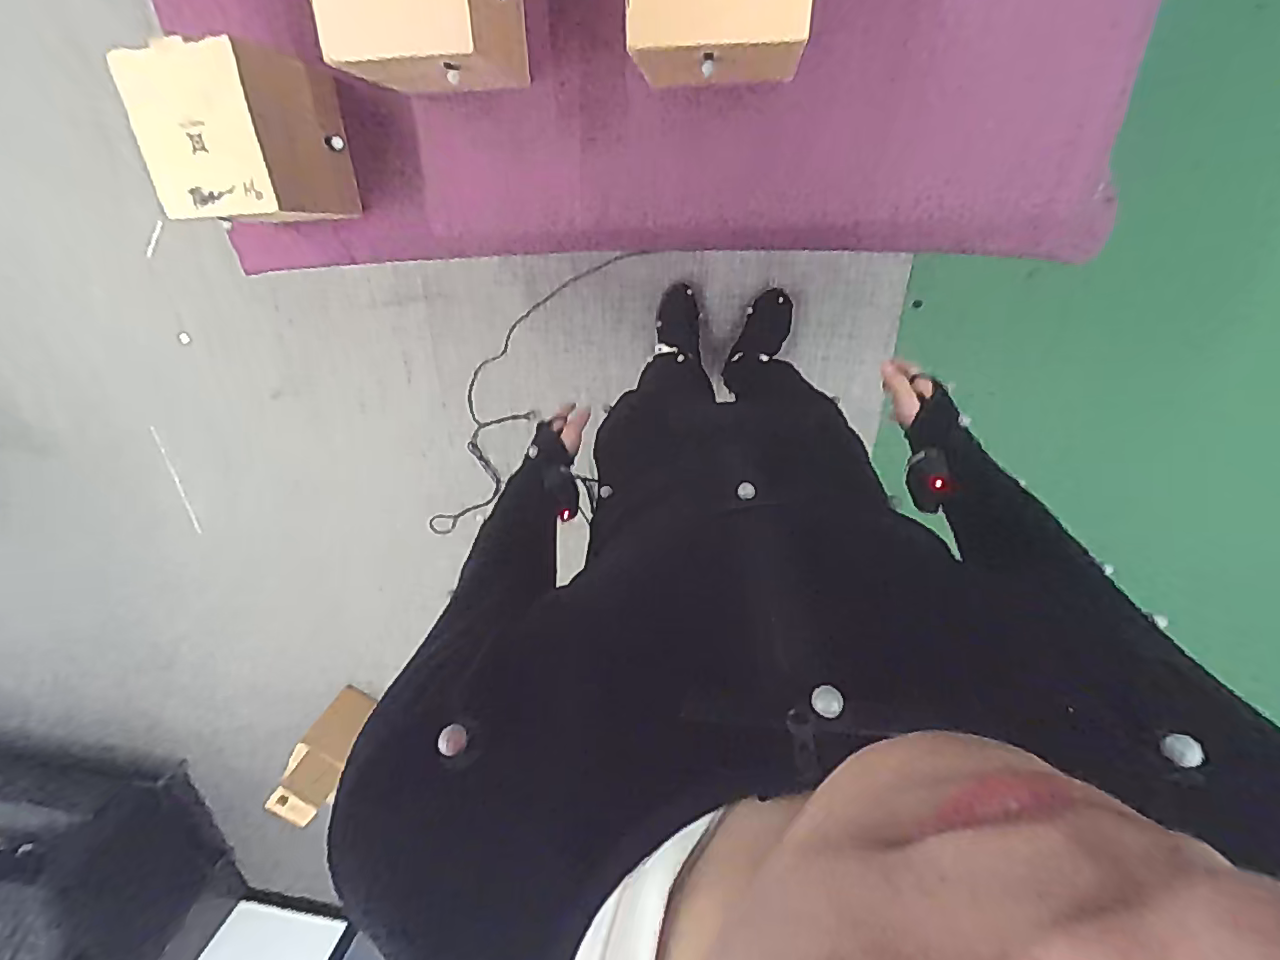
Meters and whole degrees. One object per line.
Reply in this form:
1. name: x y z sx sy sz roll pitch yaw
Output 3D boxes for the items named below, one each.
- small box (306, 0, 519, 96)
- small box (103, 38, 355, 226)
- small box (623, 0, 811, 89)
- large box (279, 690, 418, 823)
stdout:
1. small box: -0.243 -0.541 0.597 0.179 0.176 0.168 4 116 9
2. small box: -0.508 -0.429 0.698 0.168 0.176 0.179 3 114 11
3. small box: 0.083 -0.516 0.552 0.179 0.176 0.168 5 117 10
4. large box: -1.279 1.214 2.390 0.408 0.320 0.320 32 118 -6
